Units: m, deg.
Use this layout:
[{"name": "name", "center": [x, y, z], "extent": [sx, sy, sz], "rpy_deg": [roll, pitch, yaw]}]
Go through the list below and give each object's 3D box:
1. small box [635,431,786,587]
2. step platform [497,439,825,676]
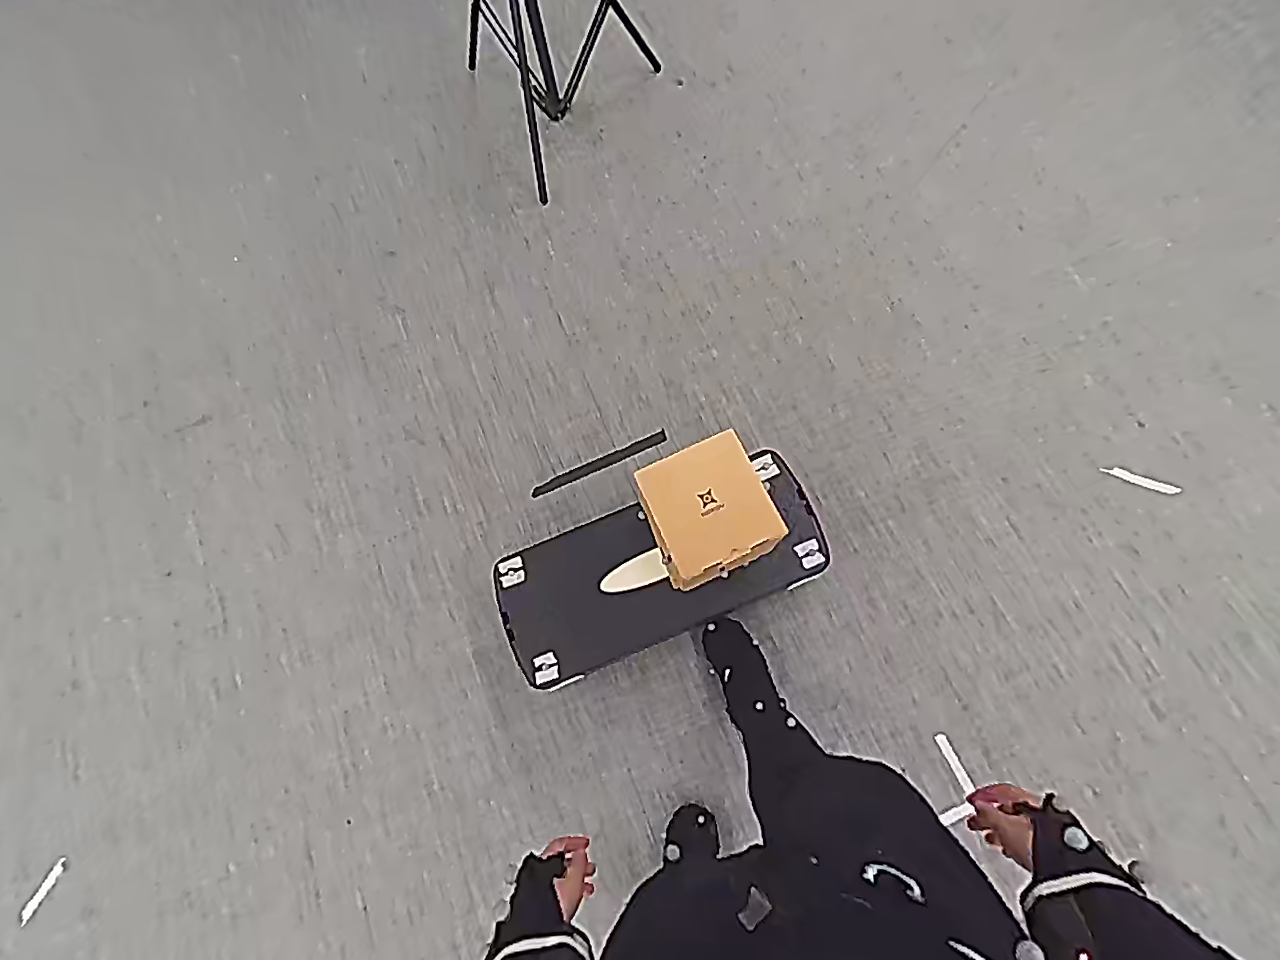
[{"name": "small box", "center": [0.102, 0.054, 0.855], "extent": [0.168, 0.176, 0.179], "rpy_deg": [-25, 75, -4]}, {"name": "step platform", "center": [0.043, 0.167, 1.178], "extent": [0.684, 0.204, 0.286], "rpy_deg": [-23, 73, -2]}]
